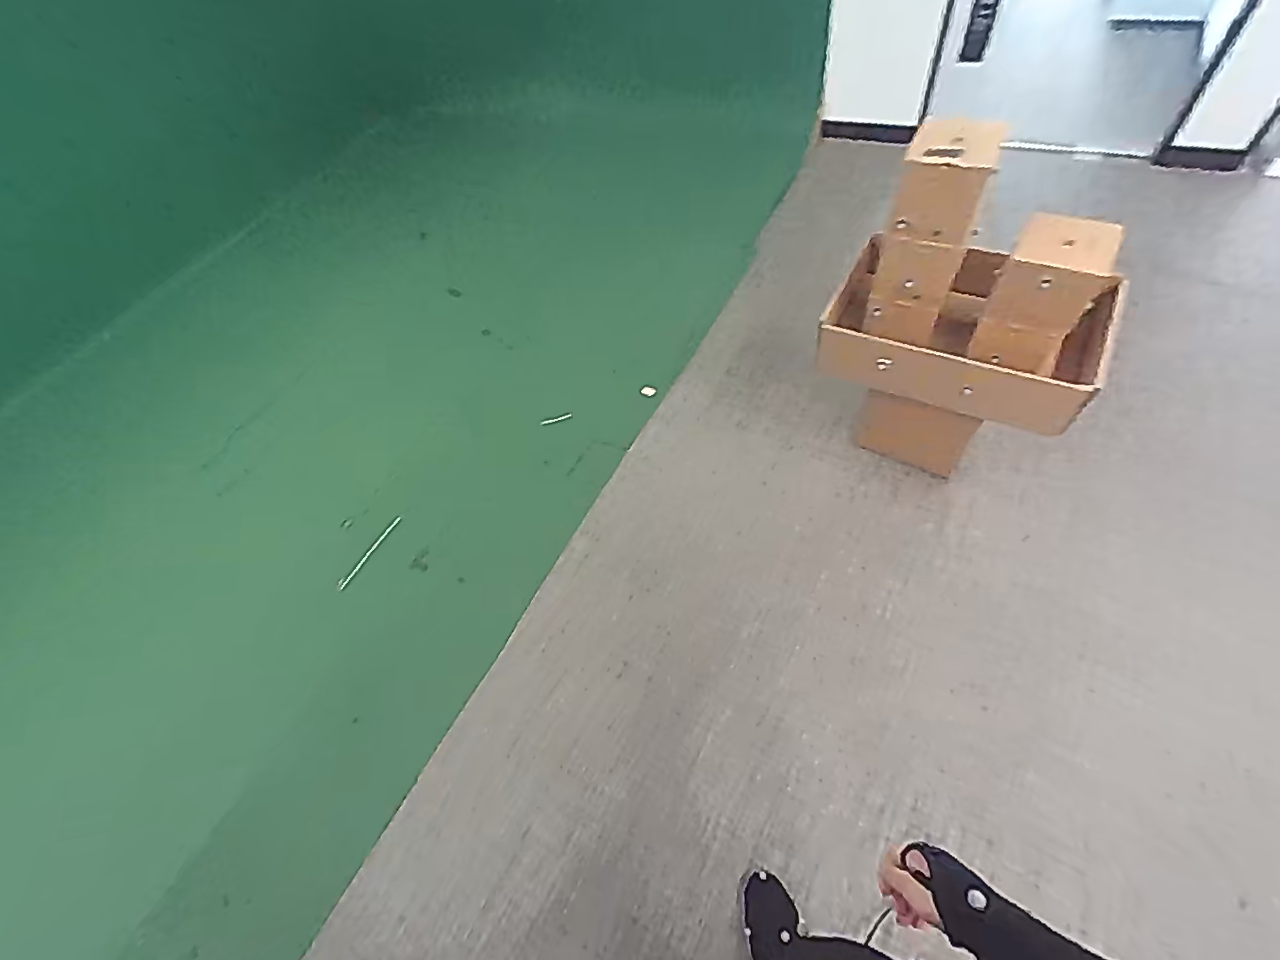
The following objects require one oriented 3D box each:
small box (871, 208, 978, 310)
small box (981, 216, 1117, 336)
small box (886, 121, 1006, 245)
[{"bbox_3d":[0.676,-0.545,1.300,0.168,0.176,0.179,23,65,23],"label":"small box"},{"bbox_3d":[0.898,-0.449,1.202,0.179,0.176,0.168,25,67,23],"label":"small box"},{"bbox_3d":[0.650,-0.638,1.167,0.168,0.176,0.179,22,64,22],"label":"small box"}]
